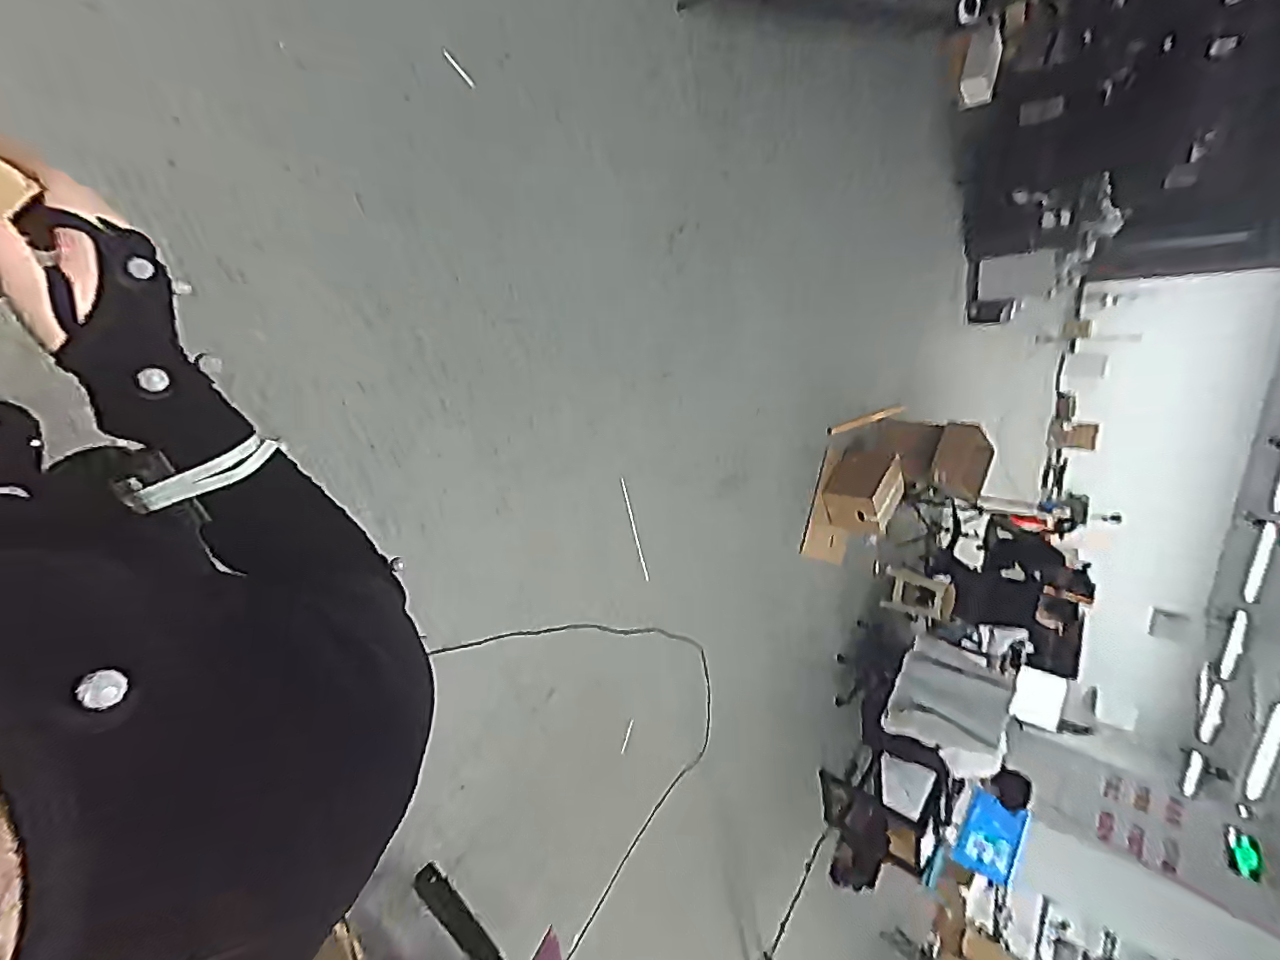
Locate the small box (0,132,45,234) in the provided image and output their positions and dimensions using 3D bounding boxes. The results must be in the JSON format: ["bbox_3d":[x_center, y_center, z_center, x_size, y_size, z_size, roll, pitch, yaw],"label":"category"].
[{"bbox_3d":[-0.478,-0.175,0.283,0.168,0.176,0.179,-53,138,-6],"label":"small box"}]
